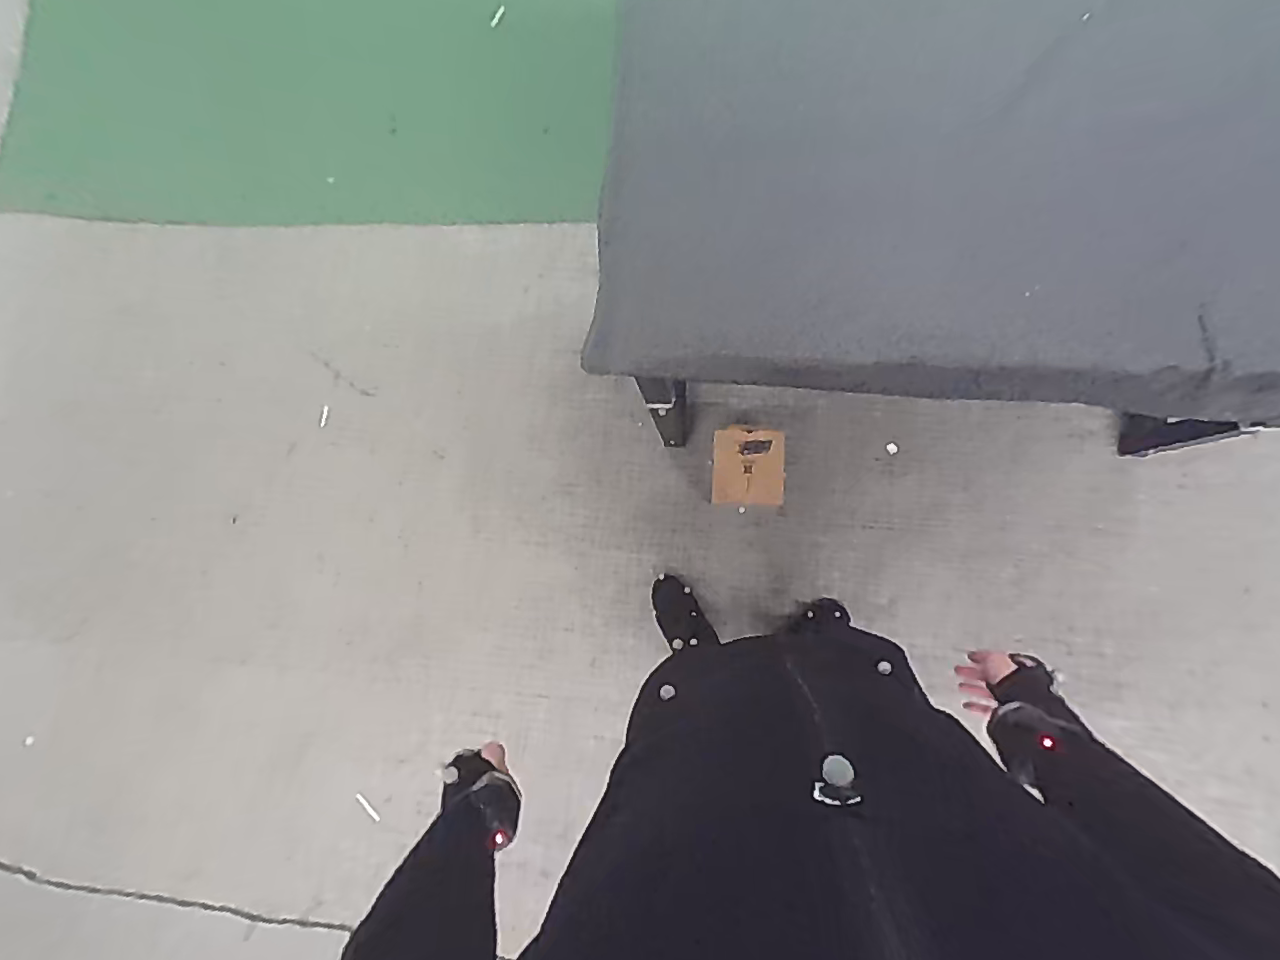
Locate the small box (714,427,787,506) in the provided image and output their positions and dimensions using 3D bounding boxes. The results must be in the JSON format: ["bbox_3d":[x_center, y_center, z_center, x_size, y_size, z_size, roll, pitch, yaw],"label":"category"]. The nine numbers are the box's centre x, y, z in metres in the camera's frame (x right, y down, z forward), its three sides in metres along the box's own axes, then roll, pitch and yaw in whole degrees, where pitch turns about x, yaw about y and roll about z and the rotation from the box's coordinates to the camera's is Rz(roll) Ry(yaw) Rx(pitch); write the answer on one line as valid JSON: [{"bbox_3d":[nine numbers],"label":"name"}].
[{"bbox_3d":[0.269,-0.029,1.345,0.168,0.176,0.179,1,85,8],"label":"small box"}]
